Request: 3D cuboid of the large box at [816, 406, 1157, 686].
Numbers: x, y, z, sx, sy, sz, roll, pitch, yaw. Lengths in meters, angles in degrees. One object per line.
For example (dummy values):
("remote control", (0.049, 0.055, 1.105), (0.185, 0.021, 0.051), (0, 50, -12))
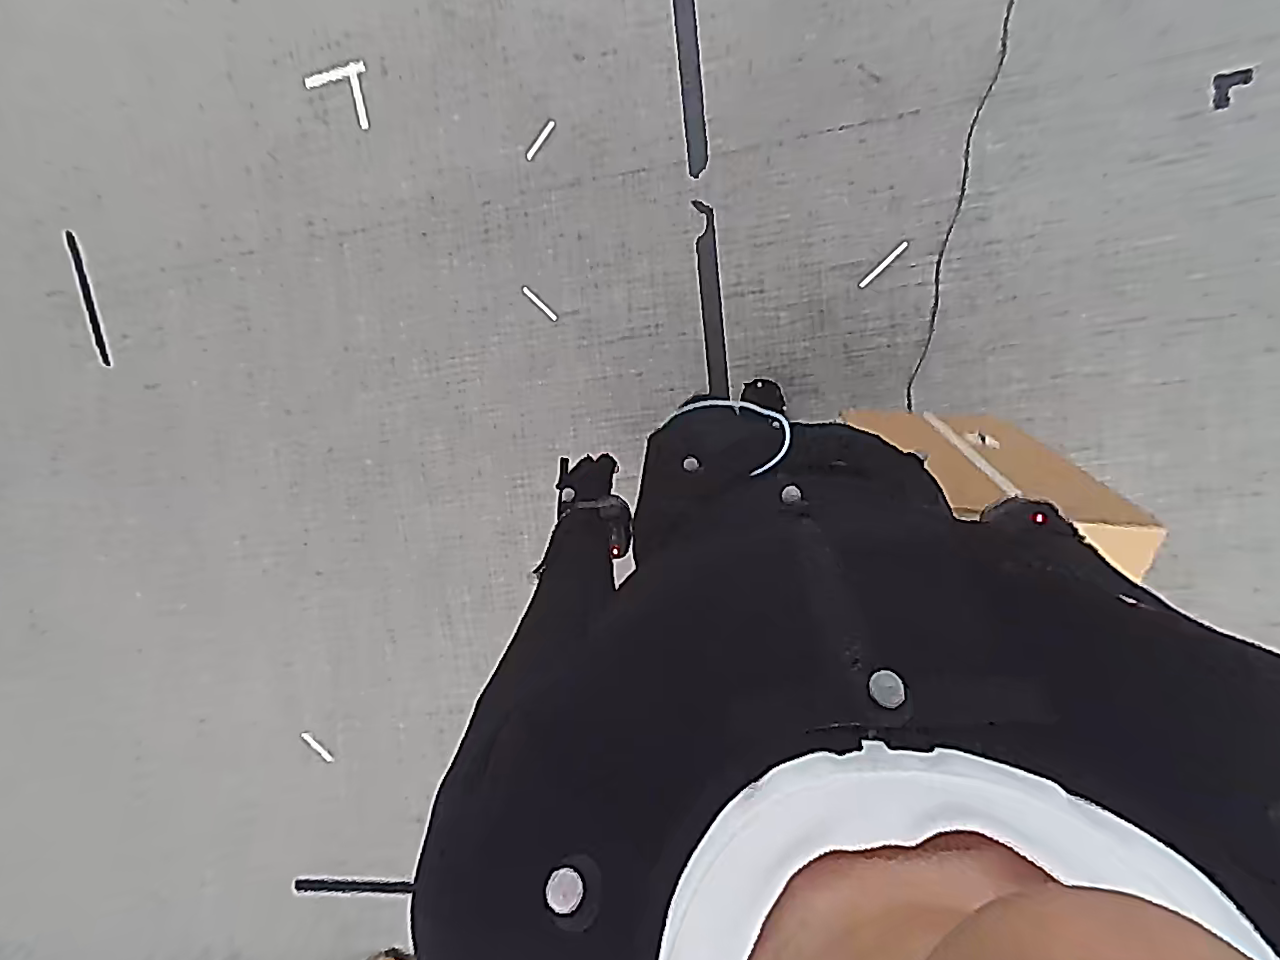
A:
("large box", (0.513, 0.086, 0.924), (0.320, 0.408, 0.320), (4, 115, 5))
